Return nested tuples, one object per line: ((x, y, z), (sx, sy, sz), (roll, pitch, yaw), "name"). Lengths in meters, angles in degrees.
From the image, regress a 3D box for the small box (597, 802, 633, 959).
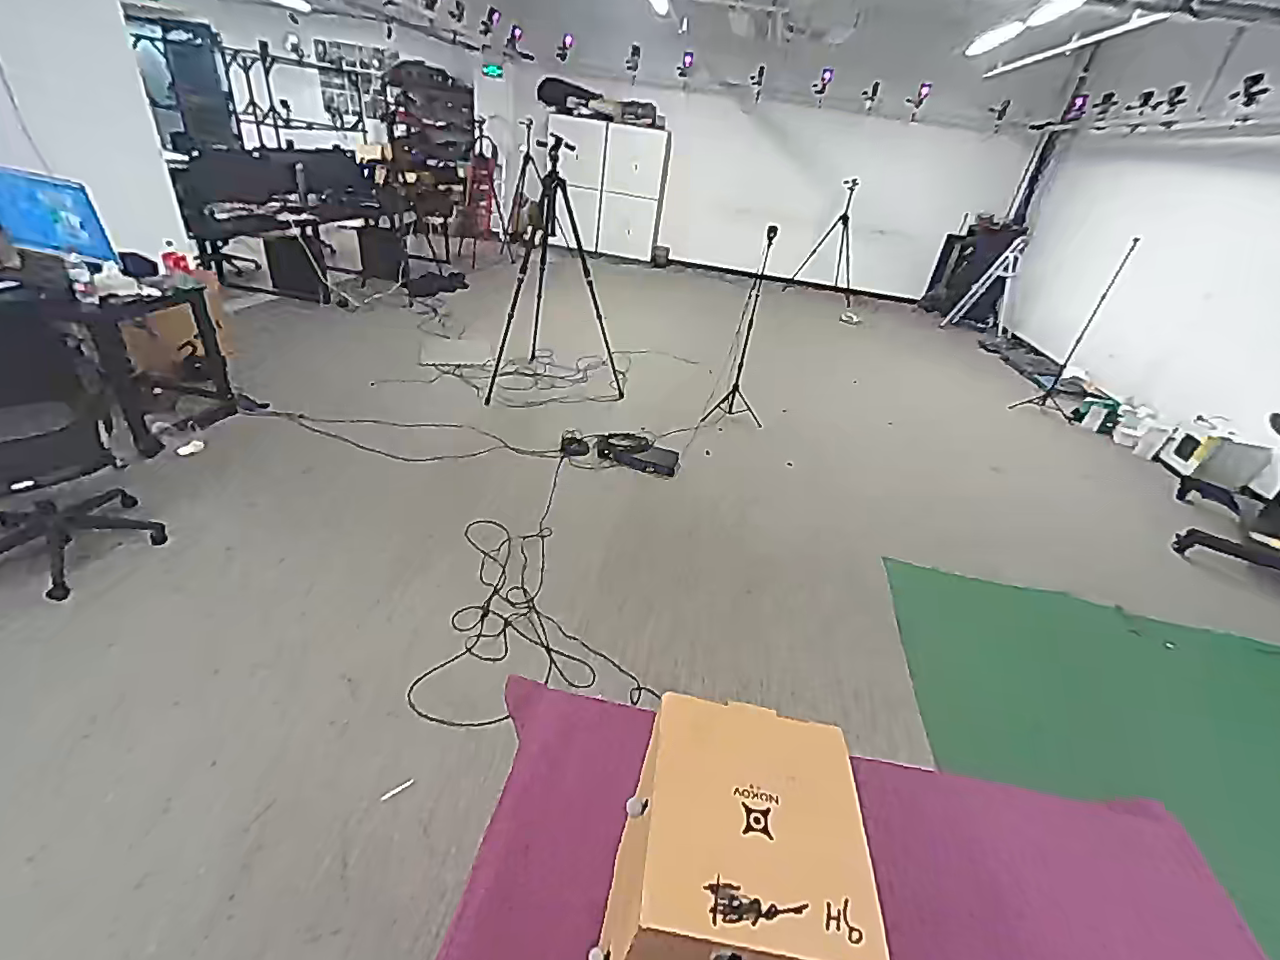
((0.048, 0.464, 0.539), (0.168, 0.176, 0.179), (12, 33, 2), "small box")

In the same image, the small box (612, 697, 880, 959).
((0.074, 0.323, 0.458), (0.168, 0.176, 0.179), (10, 33, 2), "small box")
